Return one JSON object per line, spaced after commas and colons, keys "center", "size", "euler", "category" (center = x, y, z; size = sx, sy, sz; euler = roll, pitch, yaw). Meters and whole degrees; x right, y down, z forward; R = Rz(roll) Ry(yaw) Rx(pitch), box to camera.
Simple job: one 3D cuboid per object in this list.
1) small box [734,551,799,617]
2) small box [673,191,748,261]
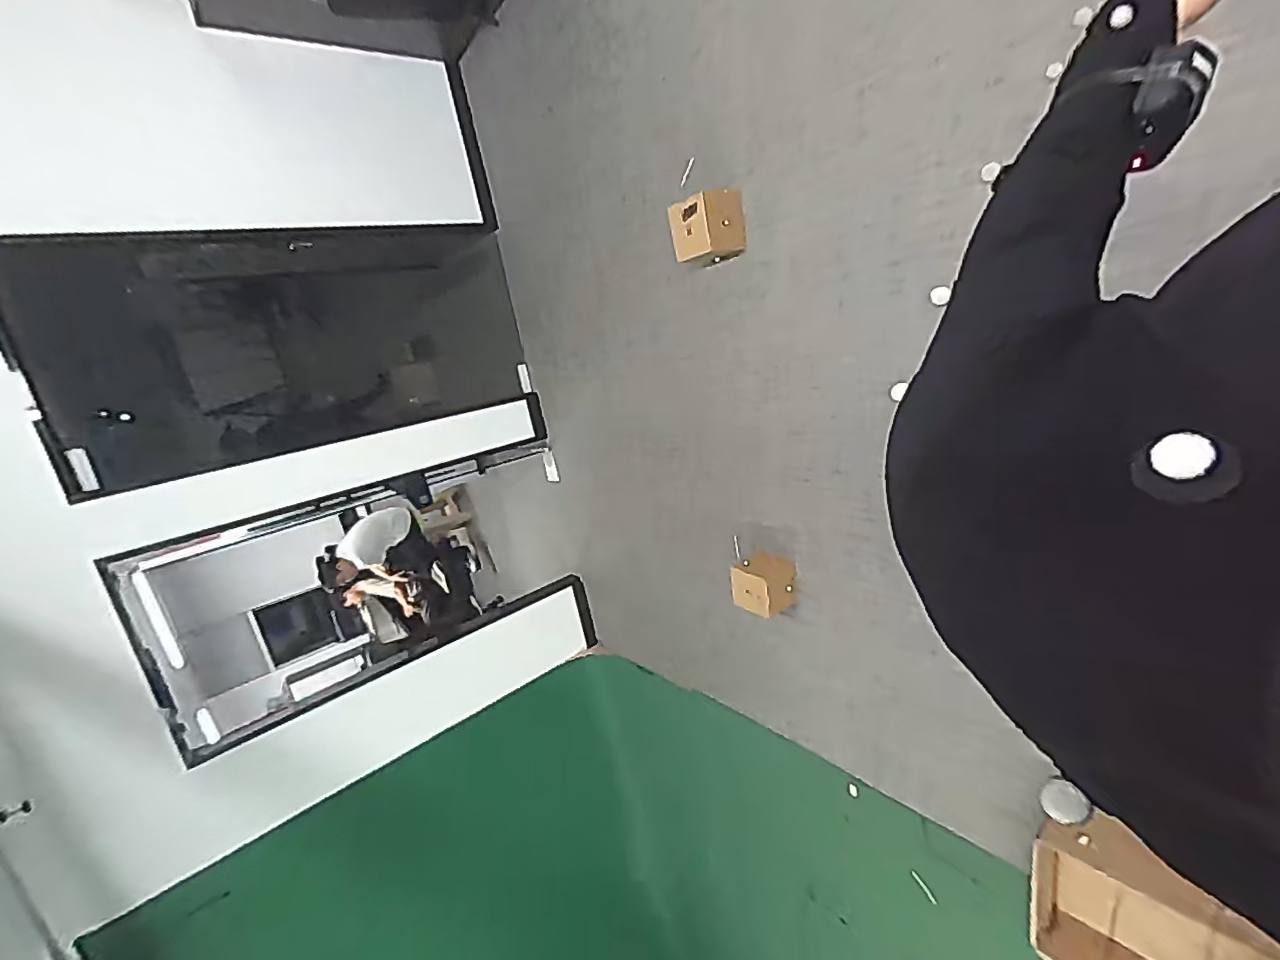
{"center": [0.481, 0.386, 2.051], "size": [0.179, 0.176, 0.168], "euler": [14, 119, 50], "category": "small box"}
{"center": [0.234, -0.830, 1.774], "size": [0.168, 0.176, 0.179], "euler": [8, 114, 52], "category": "small box"}
